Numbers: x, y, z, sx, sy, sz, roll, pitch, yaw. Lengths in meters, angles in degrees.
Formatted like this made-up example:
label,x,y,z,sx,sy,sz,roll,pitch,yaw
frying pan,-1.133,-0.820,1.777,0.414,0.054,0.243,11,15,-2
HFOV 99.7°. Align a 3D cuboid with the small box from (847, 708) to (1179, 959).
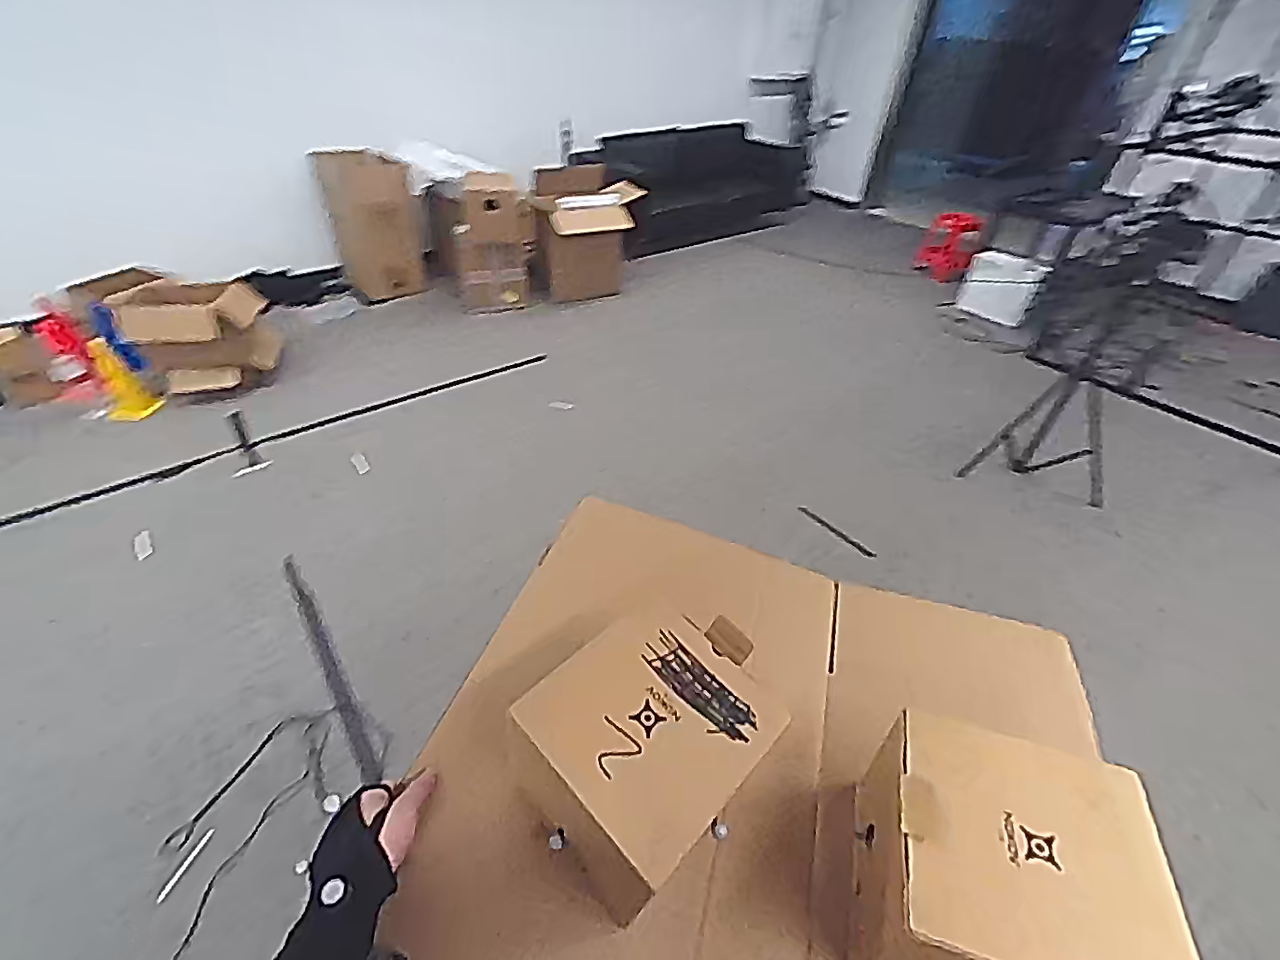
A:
label,x,y,z,sx,sy,sz,roll,pitch,yaw
small box,0.289,0.332,0.460,0.179,0.176,0.168,10,41,15
